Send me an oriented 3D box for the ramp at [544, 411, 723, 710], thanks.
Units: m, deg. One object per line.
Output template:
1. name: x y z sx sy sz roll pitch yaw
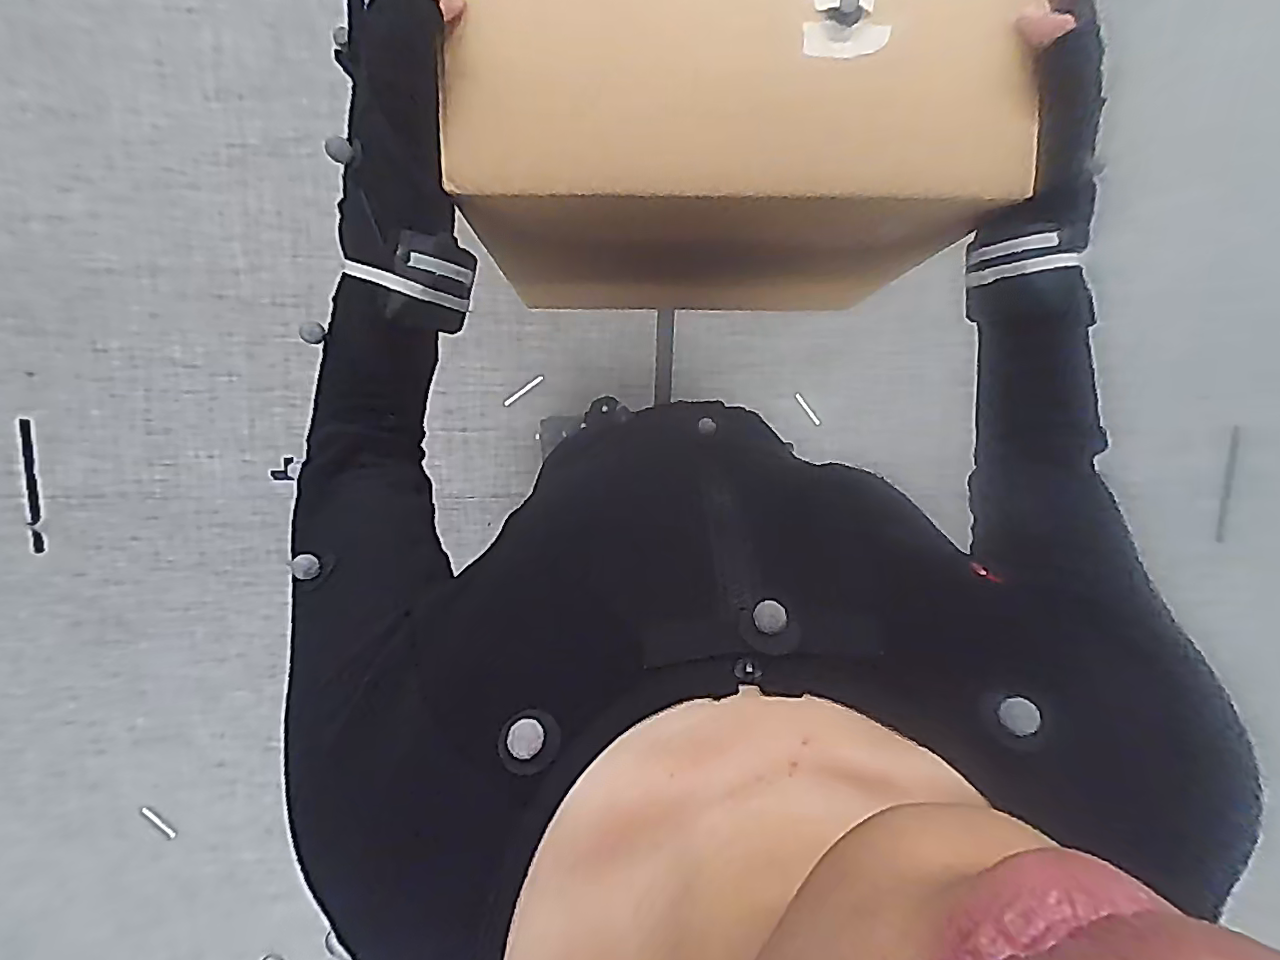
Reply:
1. ramp: -0.019 0.285 1.626 0.509 0.206 0.991 -2 99 -3

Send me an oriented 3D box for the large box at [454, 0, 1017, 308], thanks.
1. large box: 0.062 -0.364 0.525 0.408 0.320 0.320 -1 94 -2
